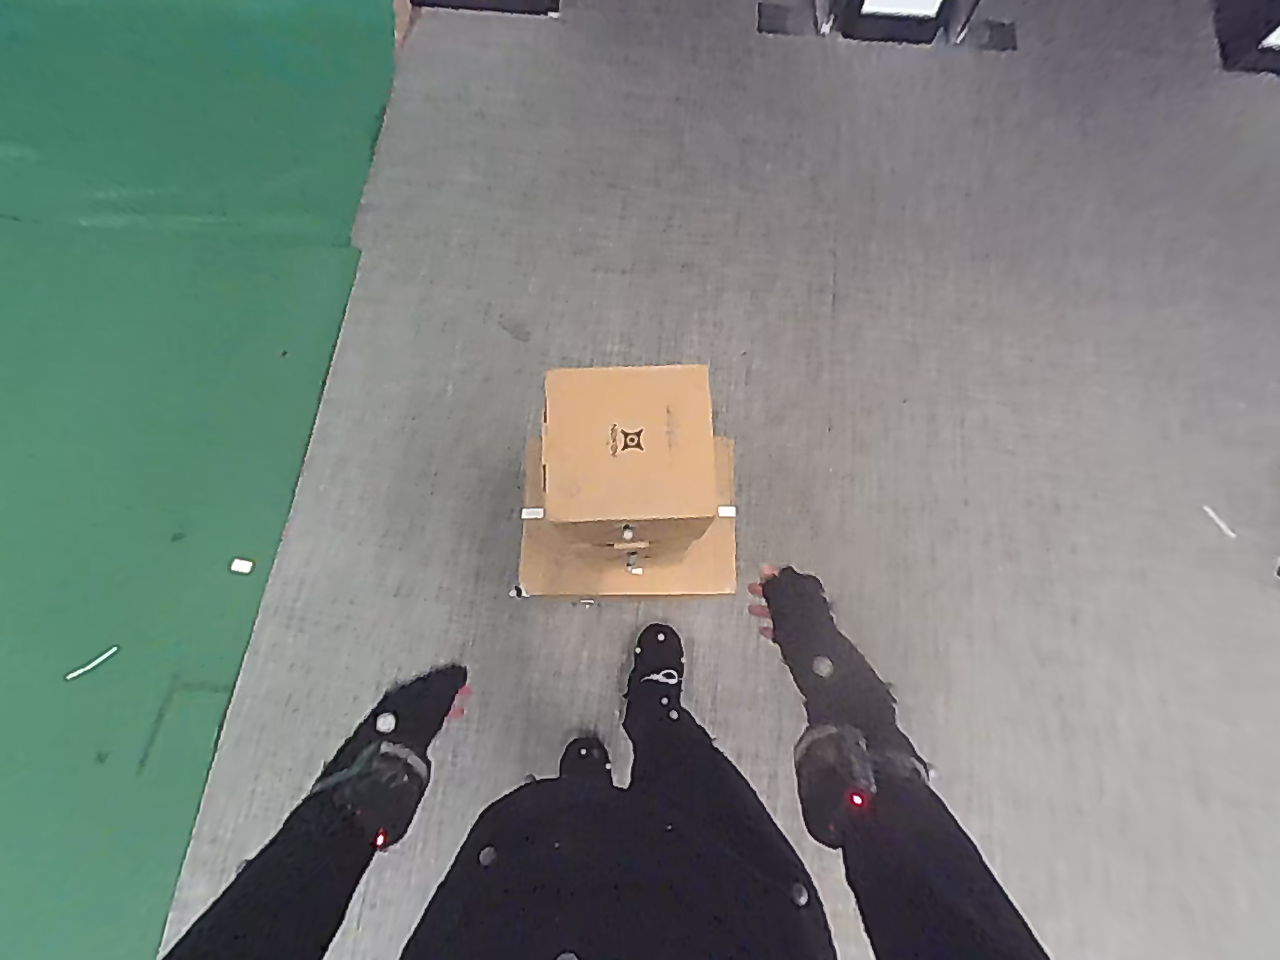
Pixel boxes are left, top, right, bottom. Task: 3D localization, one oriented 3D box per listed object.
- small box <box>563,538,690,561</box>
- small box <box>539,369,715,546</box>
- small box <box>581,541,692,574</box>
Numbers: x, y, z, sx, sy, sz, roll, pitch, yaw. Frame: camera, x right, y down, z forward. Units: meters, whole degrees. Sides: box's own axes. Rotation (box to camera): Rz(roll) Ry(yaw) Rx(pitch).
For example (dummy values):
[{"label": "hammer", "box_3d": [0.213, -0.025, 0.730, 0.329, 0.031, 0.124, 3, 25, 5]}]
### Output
[{"label": "small box", "box_3d": [-0.019, 0.023, 0.784, 0.168, 0.176, 0.179, -3, 76, -1]}, {"label": "small box", "box_3d": [-0.015, -0.016, 0.626, 0.179, 0.176, 0.168, -2, 77, -1]}, {"label": "small box", "box_3d": [-0.014, 0.070, 0.940, 0.179, 0.176, 0.168, -5, 76, -2]}]
